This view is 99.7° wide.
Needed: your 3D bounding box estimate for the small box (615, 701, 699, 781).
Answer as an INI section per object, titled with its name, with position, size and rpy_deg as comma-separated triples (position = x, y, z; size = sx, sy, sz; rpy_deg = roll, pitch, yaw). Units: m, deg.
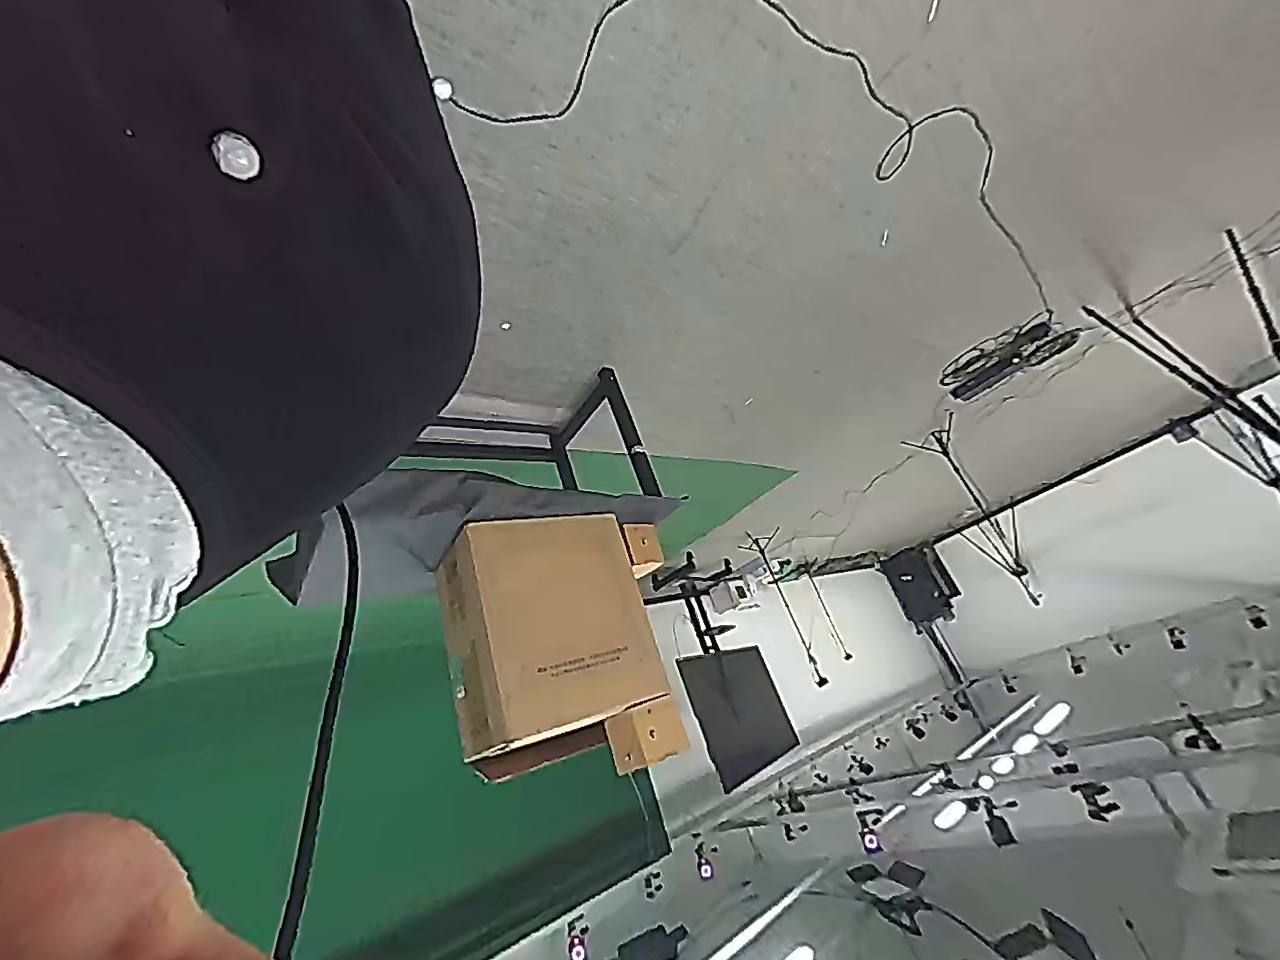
[small box]
position = 0.045, 0.785, 1.641
size = 0.168, 0.176, 0.179
rpy_deg = -1, 151, -36
